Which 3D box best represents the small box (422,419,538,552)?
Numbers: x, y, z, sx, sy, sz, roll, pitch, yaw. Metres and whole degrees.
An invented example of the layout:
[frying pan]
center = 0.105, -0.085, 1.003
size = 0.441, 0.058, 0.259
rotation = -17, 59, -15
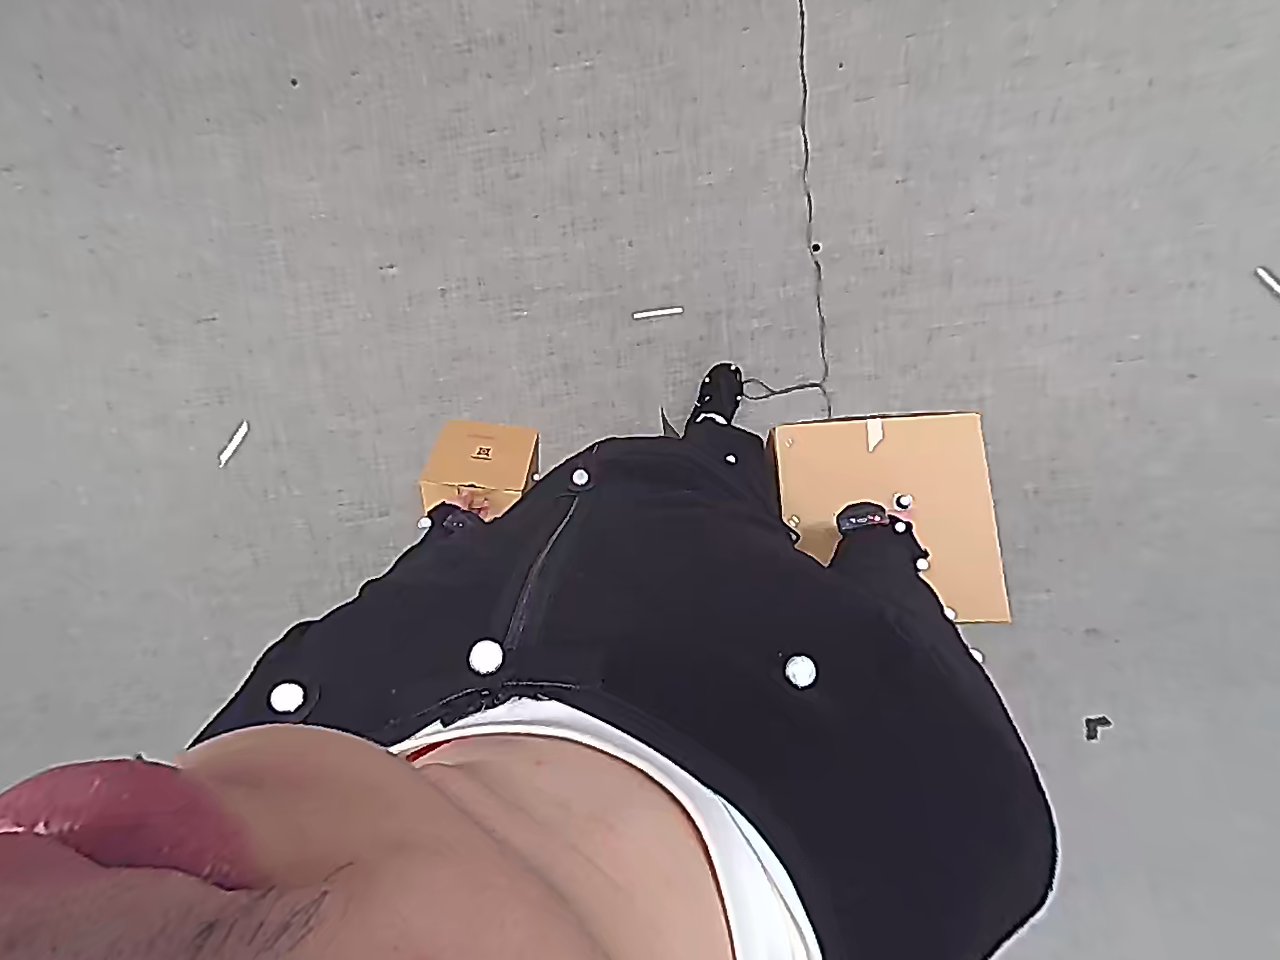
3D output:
[small box]
center = -0.282, 0.013, 0.994
size = 0.168, 0.179, 0.176
rotation = 6, 132, -5
